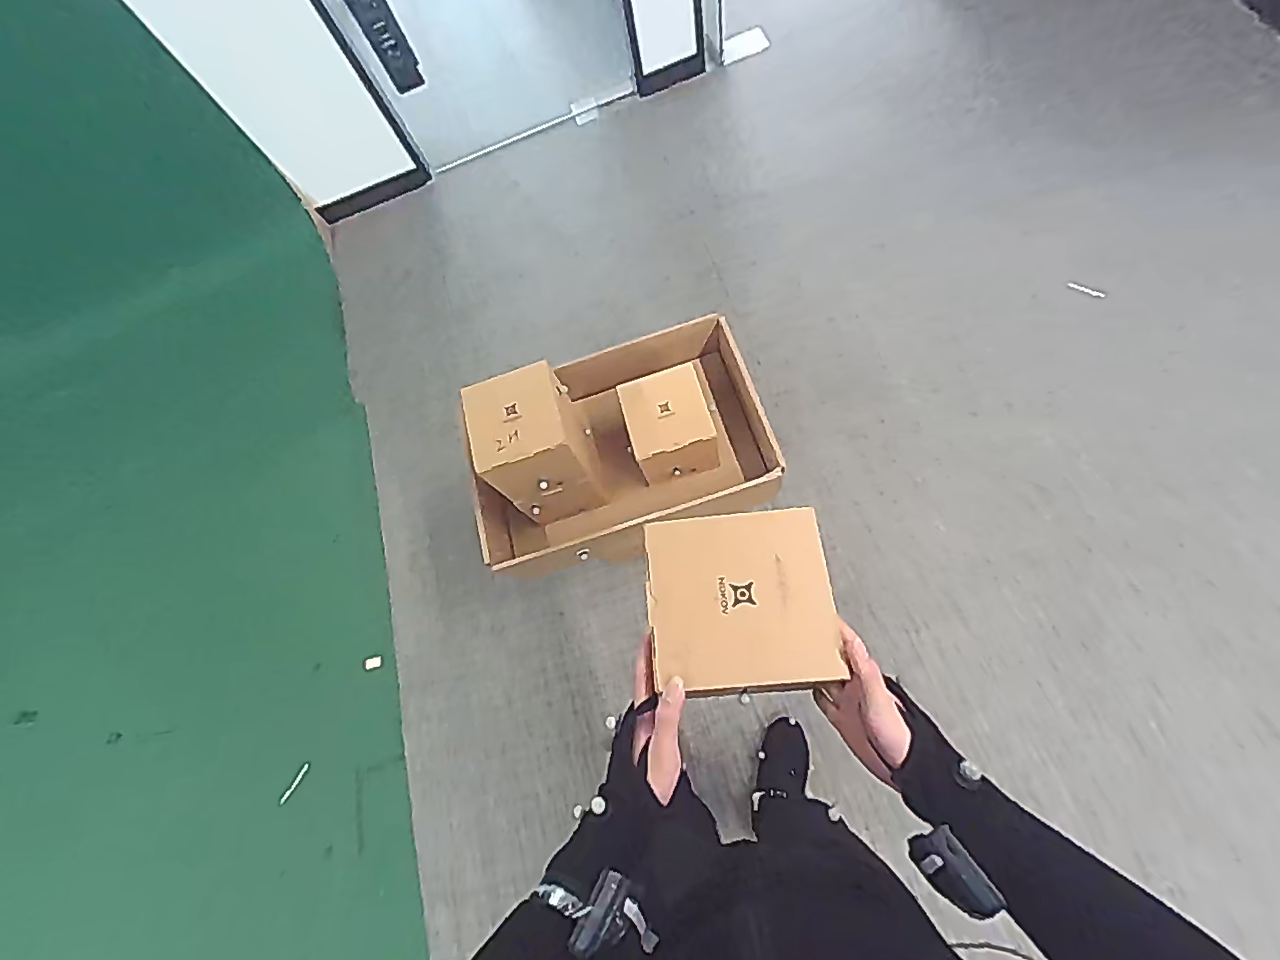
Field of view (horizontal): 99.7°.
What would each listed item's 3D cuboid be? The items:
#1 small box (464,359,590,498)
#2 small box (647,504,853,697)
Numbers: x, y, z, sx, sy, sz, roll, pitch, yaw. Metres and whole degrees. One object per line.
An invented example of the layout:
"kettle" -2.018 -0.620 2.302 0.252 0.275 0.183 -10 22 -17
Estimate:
"small box" -0.204 -0.088 1.001 0.168 0.176 0.179 -18 68 4
"small box" 0.106 0.139 0.583 0.179 0.176 0.168 -6 65 4
